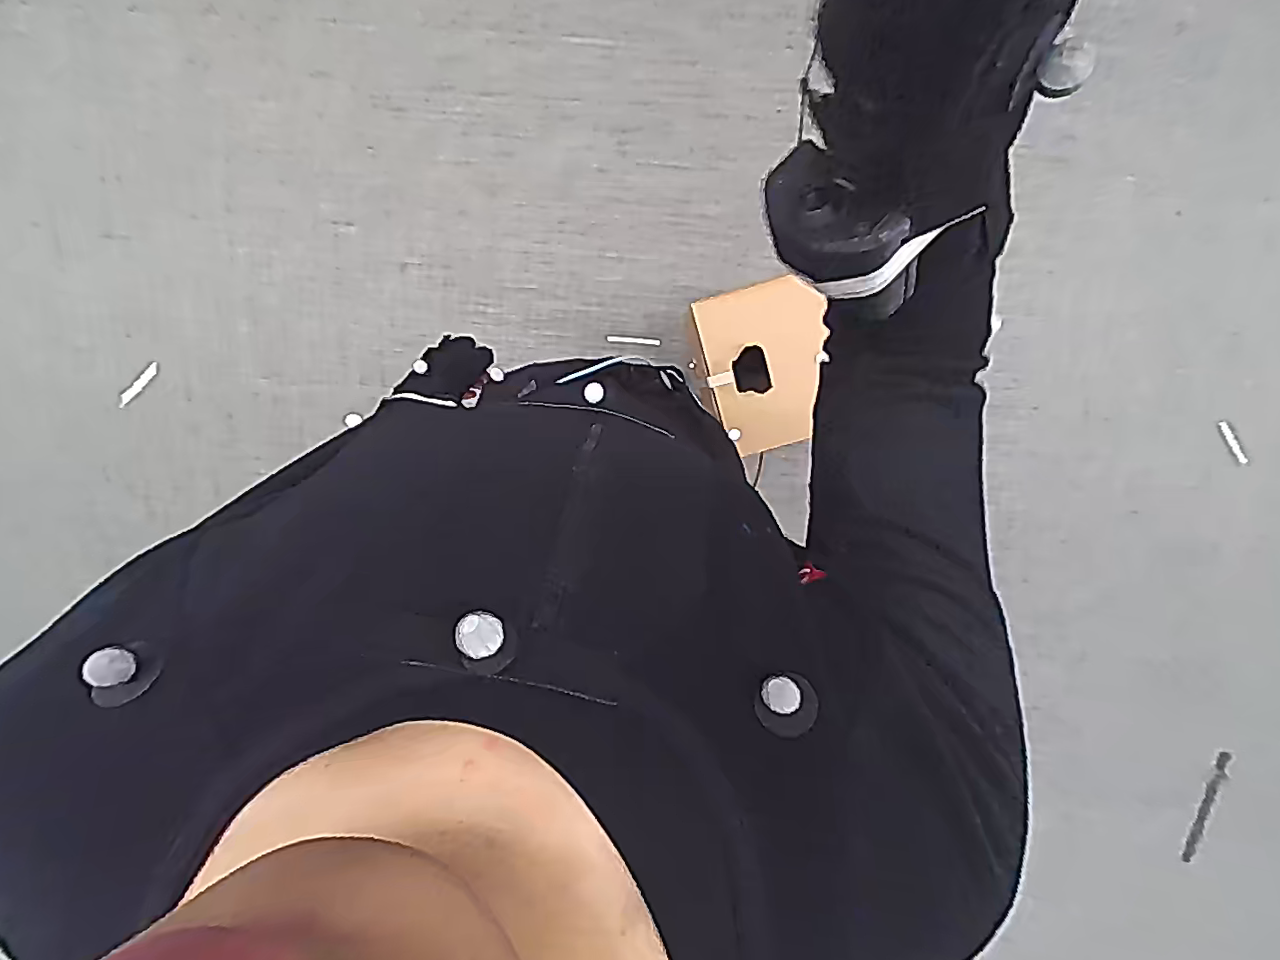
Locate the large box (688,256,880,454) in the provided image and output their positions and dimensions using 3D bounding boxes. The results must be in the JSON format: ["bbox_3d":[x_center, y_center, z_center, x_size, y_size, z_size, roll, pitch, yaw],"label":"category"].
[{"bbox_3d":[0.298,-0.269,1.229,0.320,0.408,0.320,-15,100,7],"label":"large box"}]
